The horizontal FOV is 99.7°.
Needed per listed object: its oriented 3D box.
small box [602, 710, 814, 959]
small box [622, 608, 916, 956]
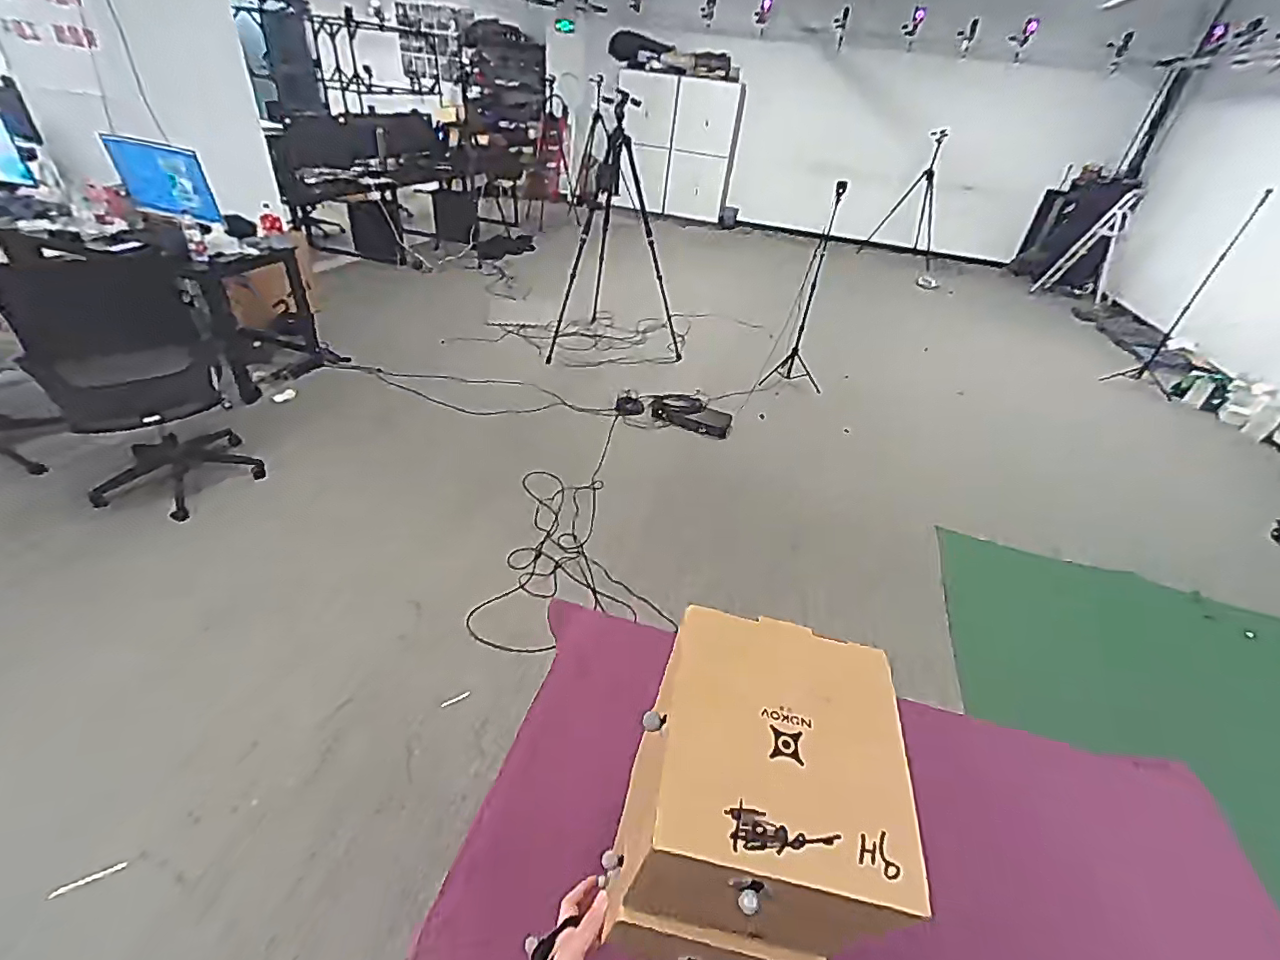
[{"bbox_3d":[0.062,0.363,0.533,0.168,0.176,0.179,13,42,3],"label":"small box"},{"bbox_3d":[0.086,0.237,0.431,0.168,0.176,0.179,12,42,4],"label":"small box"}]
